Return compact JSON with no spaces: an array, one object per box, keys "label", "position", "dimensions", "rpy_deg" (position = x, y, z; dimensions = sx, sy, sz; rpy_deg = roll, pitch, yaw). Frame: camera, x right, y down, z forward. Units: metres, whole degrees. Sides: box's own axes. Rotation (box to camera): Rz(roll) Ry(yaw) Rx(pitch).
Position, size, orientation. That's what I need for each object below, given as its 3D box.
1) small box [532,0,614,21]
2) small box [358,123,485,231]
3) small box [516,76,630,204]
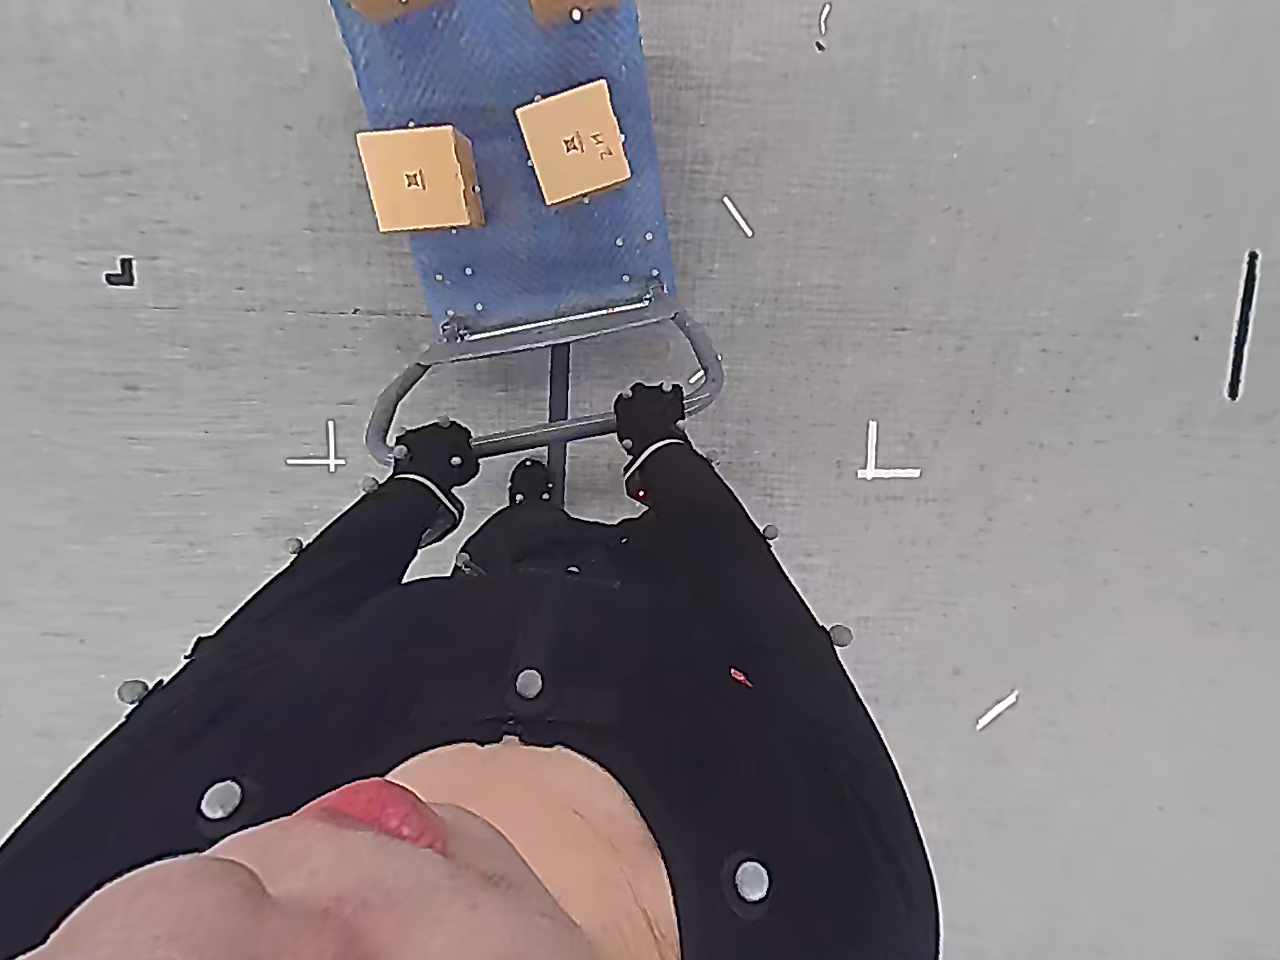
[{"label":"small box","position":[-0.134,-0.958,0.949],"dimensions":[0.168,0.176,0.179],"rpy_deg":[-14,116,2]},{"label":"small box","position":[-0.428,-0.600,1.087],"dimensions":[0.179,0.176,0.168],"rpy_deg":[-7,114,-3]},{"label":"small box","position":[-0.126,-0.666,1.081],"dimensions":[0.179,0.176,0.168],"rpy_deg":[-17,115,3]}]
